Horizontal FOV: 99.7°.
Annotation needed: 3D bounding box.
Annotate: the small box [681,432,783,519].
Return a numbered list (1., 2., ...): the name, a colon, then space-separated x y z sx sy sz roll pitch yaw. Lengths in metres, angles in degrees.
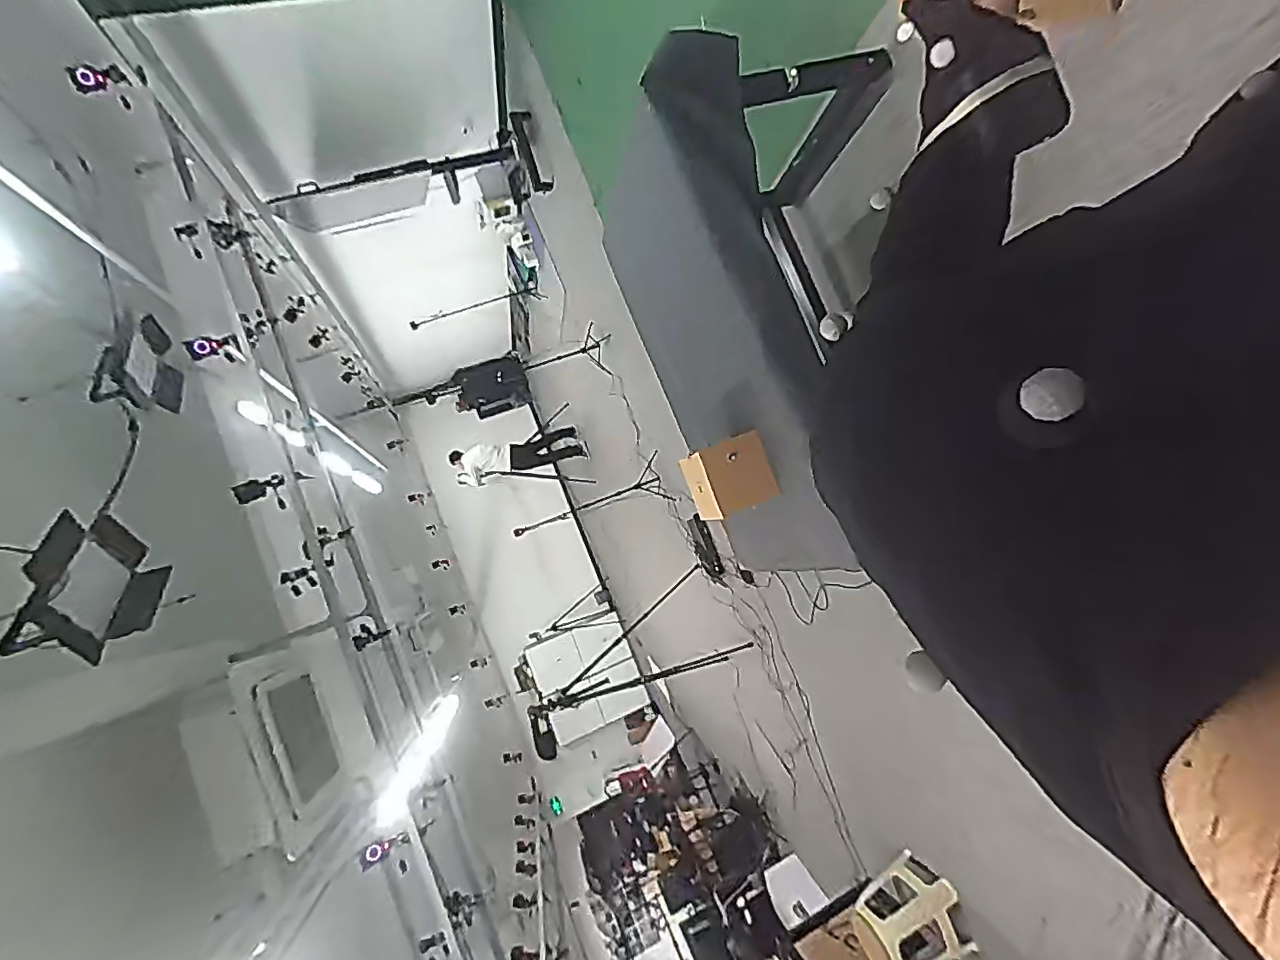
1. small box: 0.230 -0.012 1.370 0.168 0.176 0.179 158 90 -77
